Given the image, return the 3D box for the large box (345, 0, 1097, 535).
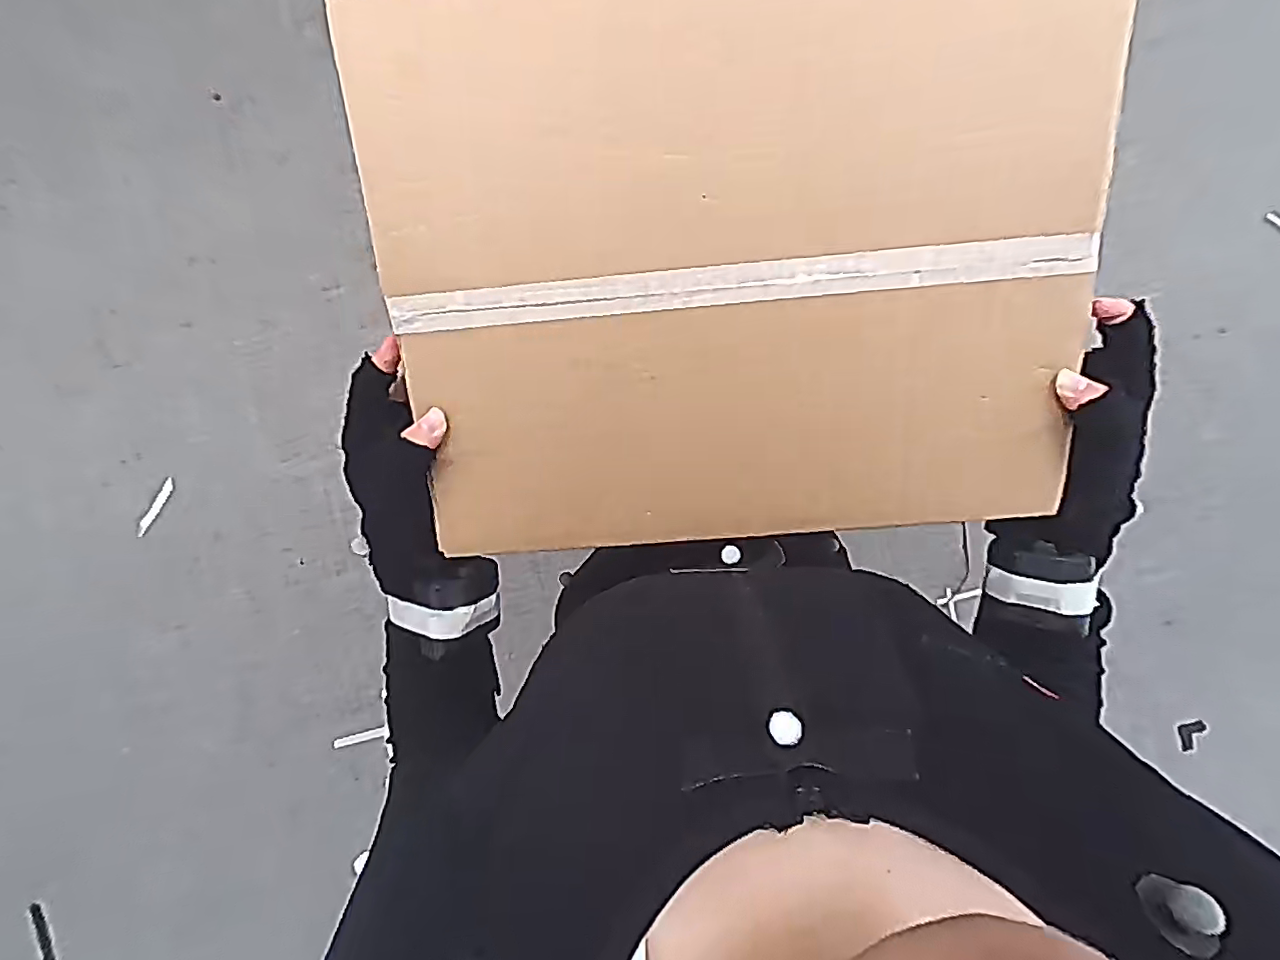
[{"bbox_3d":[0.051,-0.167,0.464,0.408,0.320,0.320,-4,108,1],"label":"large box"}]
